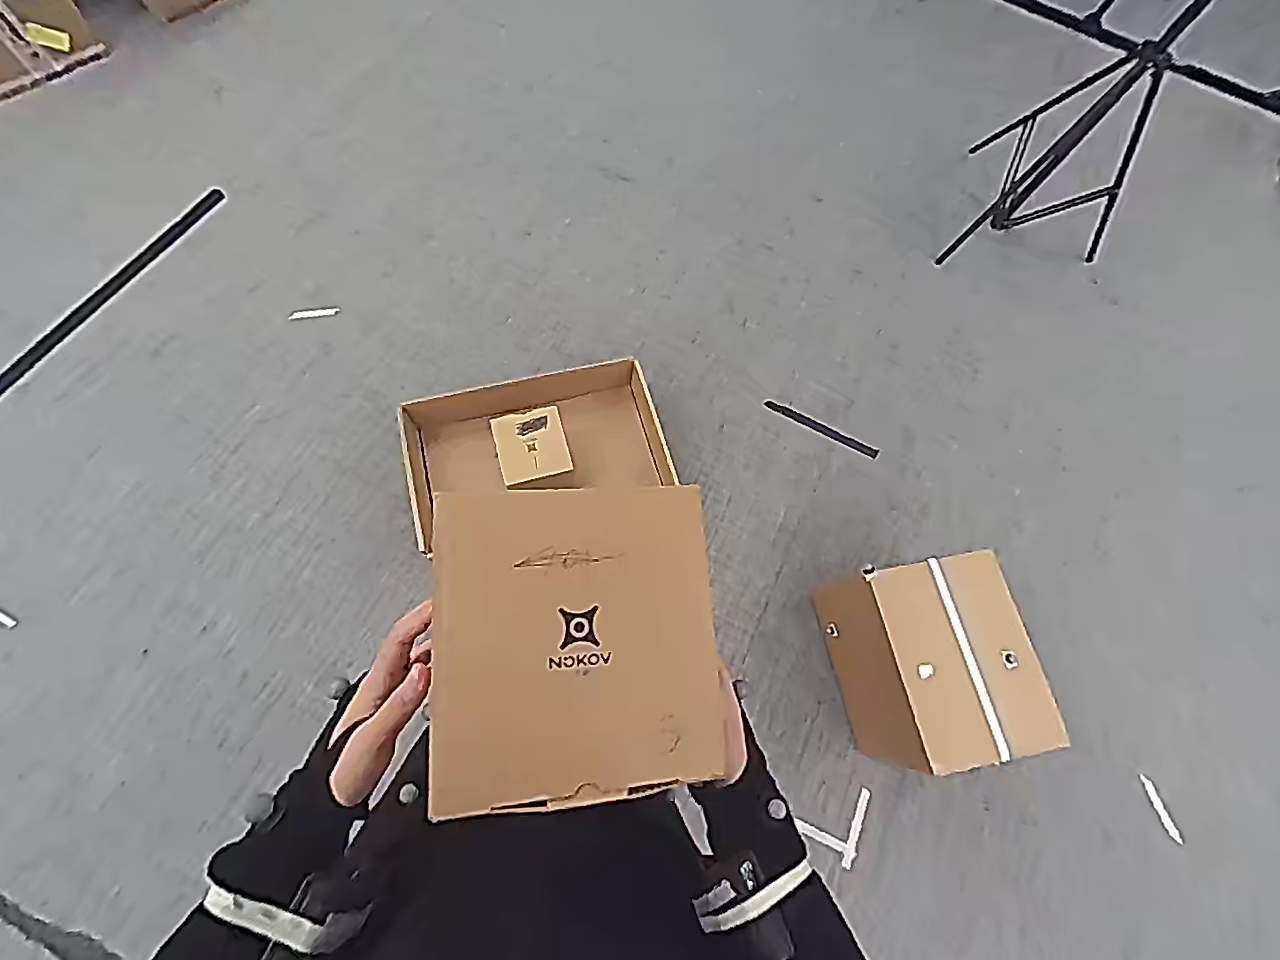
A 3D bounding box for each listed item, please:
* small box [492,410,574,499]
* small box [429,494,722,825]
[{"bbox_3d":[-0.267,-0.049,1.365,0.168,0.176,0.179,-14,73,-10],"label":"small box"},{"bbox_3d":[-0.054,0.114,0.394,0.168,0.176,0.179,-2,75,-14],"label":"small box"}]
